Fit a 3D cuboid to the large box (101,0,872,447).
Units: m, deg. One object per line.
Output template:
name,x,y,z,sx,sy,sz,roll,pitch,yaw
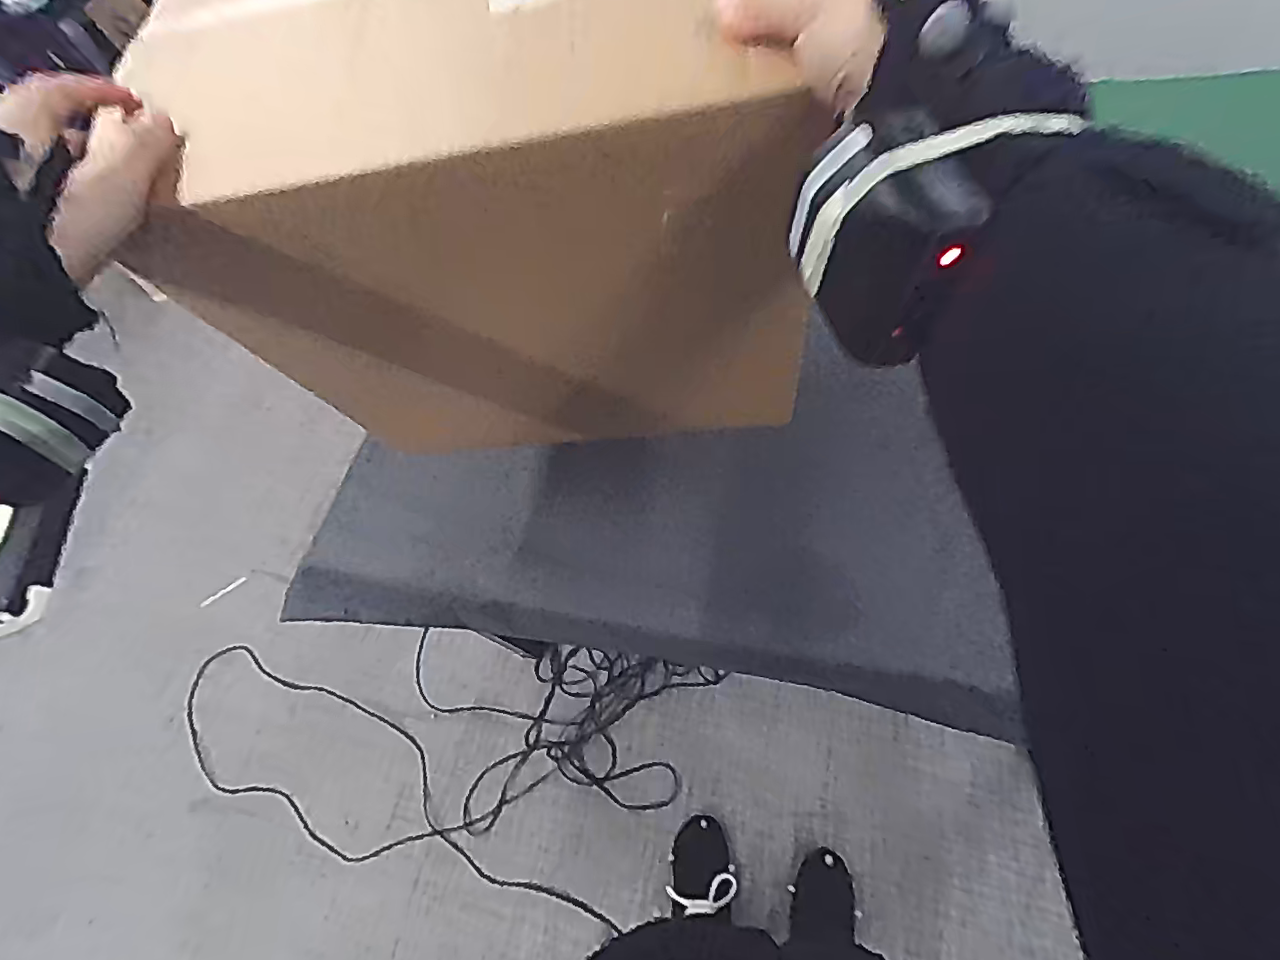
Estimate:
large box,-0.073,-0.240,0.452,0.408,0.320,0.320,-4,69,9
